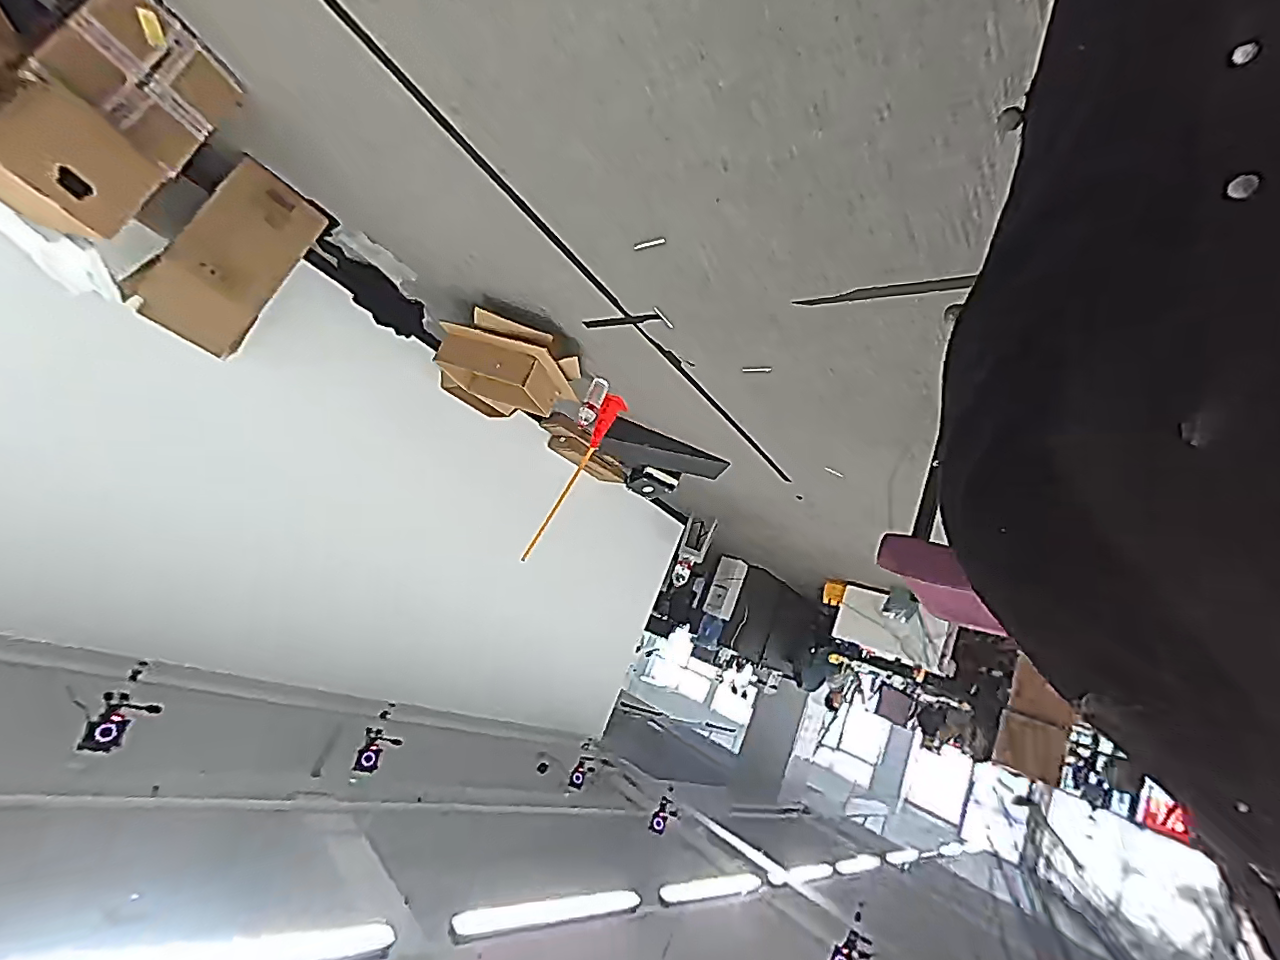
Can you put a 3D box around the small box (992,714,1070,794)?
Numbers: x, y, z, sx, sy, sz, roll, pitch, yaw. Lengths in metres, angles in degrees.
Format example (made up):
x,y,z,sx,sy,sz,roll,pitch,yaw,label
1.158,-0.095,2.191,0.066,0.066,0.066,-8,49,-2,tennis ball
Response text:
x,y,z,sx,sy,sz,roll,pitch,yaw,label
1.210,0.842,1.669,0.168,0.176,0.179,10,161,44,small box

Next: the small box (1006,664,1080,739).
x,y,z,sx,sy,sz,roll,pitch,yaw,label
1.285,0.706,1.722,0.168,0.176,0.179,10,161,41,small box

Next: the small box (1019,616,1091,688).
x,y,z,sx,sy,sz,roll,pitch,yaw,label
1.347,0.558,1.758,0.168,0.176,0.179,11,162,41,small box
